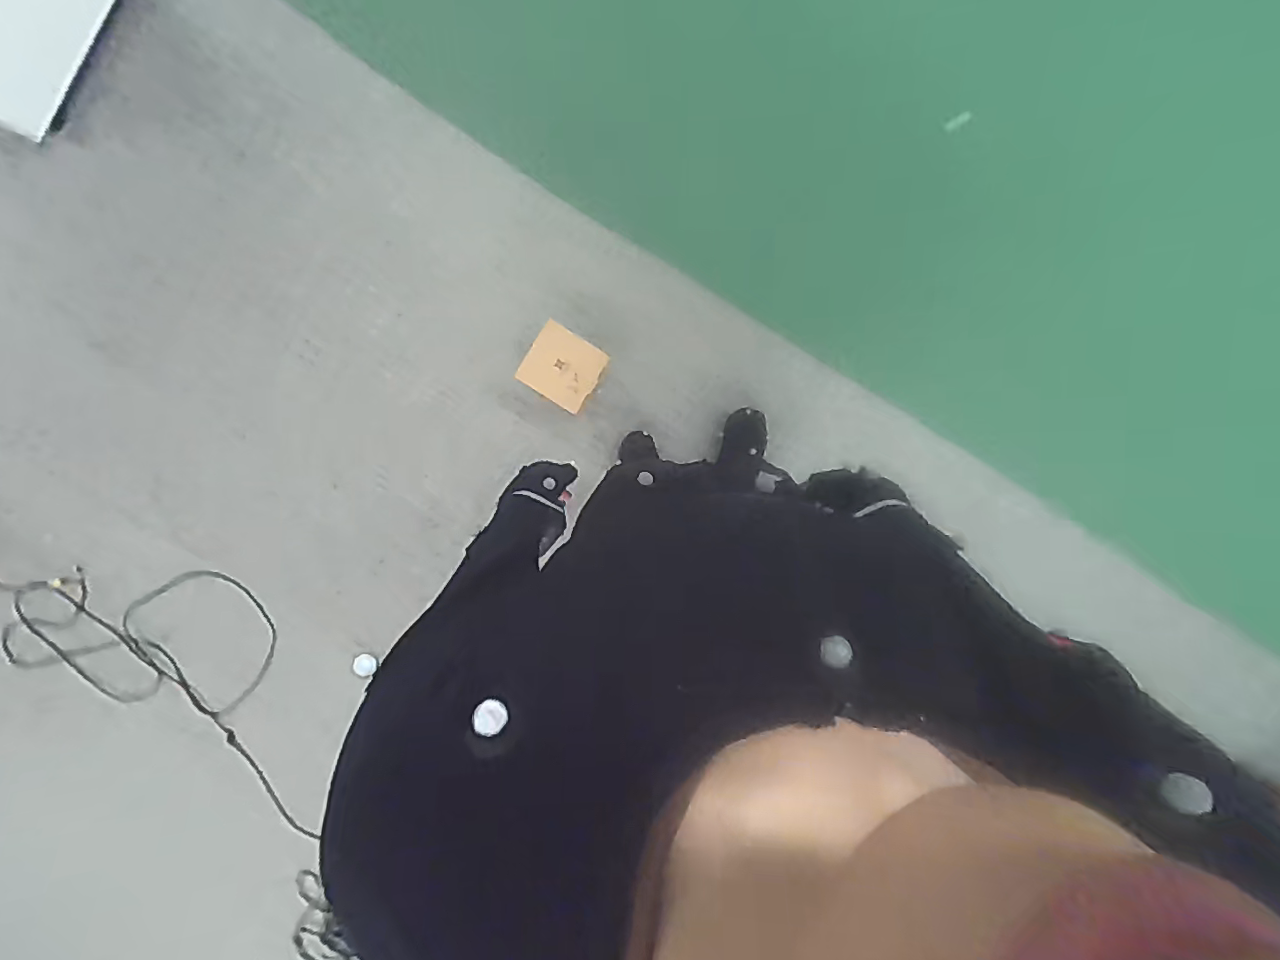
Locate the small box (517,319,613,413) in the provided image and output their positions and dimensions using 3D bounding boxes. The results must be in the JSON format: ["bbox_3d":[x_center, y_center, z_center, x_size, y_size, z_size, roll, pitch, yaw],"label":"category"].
[{"bbox_3d":[-0.183,-0.279,1.374,0.179,0.176,0.168,32,95,-4],"label":"small box"}]
